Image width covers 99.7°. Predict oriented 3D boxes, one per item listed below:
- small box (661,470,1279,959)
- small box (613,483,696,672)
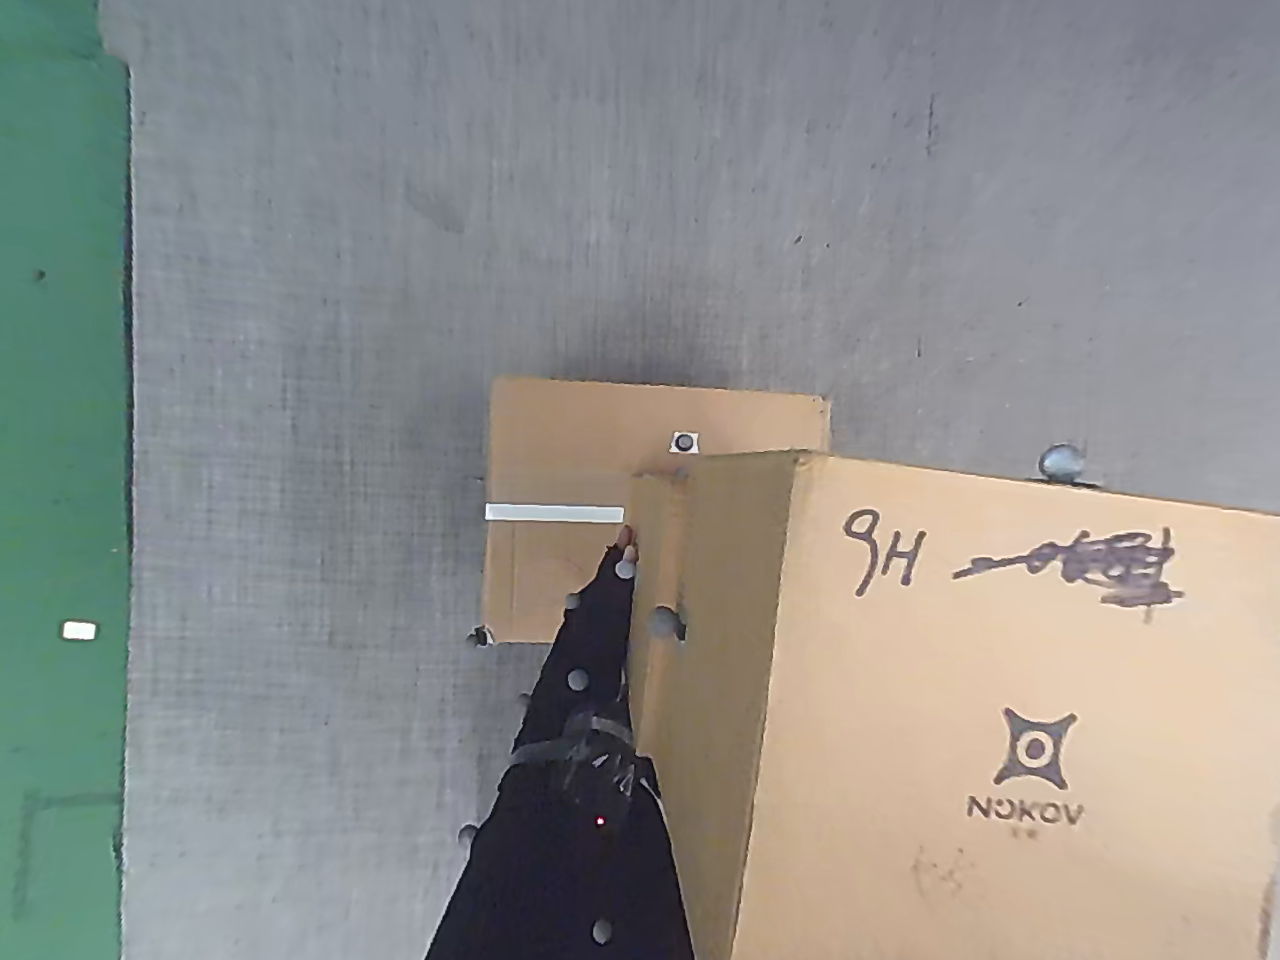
[{"bbox_3d":[0.106,0.094,0.244,0.168,0.176,0.179,8,92,-5],"label":"small box"},{"bbox_3d":[0.070,0.096,0.570,0.179,0.176,0.168,8,93,-7],"label":"small box"}]
